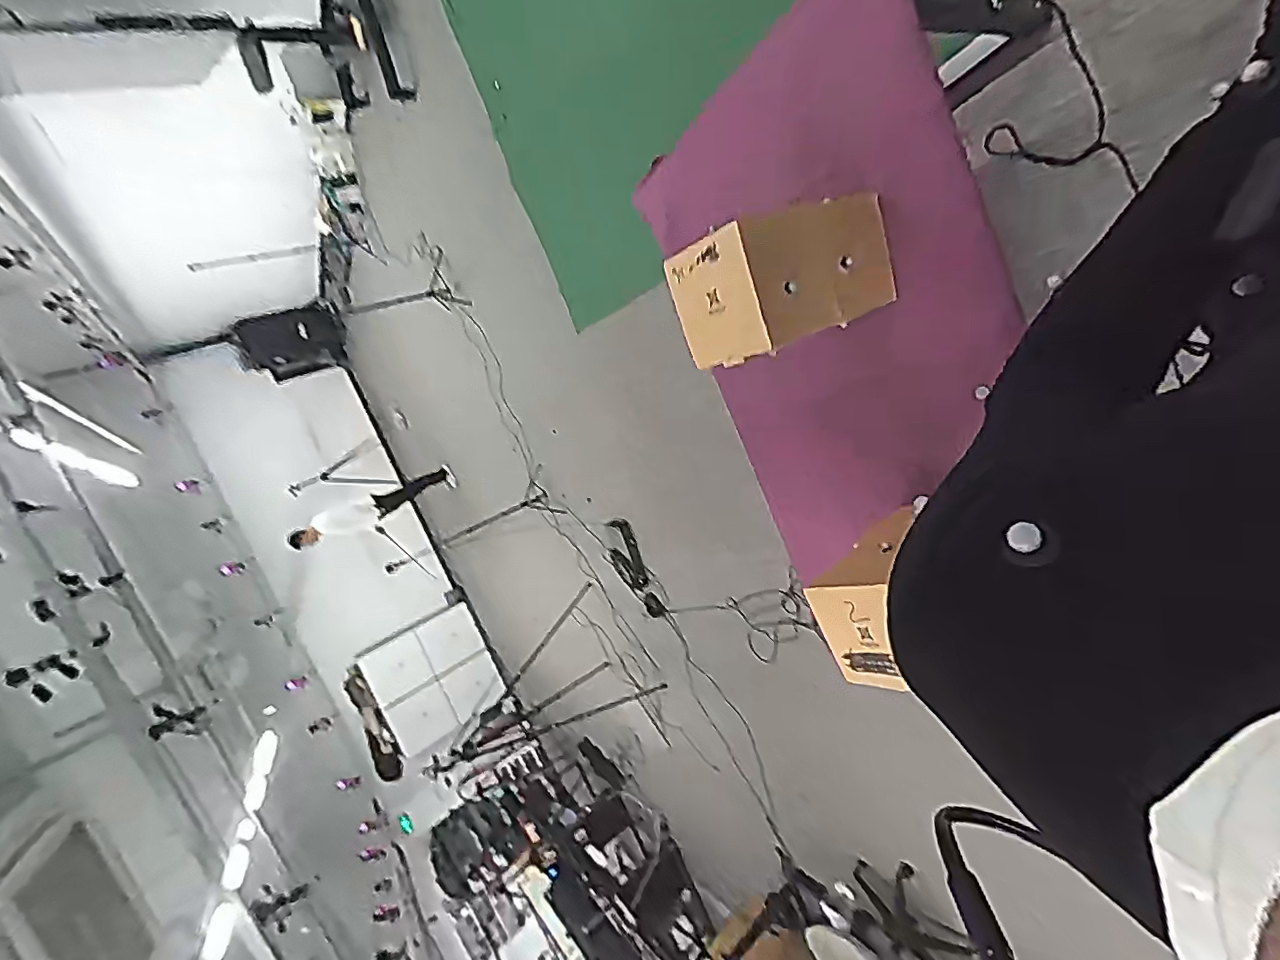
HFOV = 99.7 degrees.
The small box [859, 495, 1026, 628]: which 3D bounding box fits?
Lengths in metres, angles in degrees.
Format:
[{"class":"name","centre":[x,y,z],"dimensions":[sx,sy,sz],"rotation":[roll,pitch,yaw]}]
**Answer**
[{"class":"small box","centre":[0.531,0.138,0.950],"dimensions":[0.168,0.176,0.179],"rotation":[-23,94,60]}]

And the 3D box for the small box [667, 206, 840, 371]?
[{"class":"small box","centre":[0.176,-0.288,0.824],"dimensions":[0.168,0.176,0.179],"rotation":[-1,114,56]}]

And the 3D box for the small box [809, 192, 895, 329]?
[{"class":"small box","centre":[0.301,-0.354,0.906],"dimensions":[0.168,0.176,0.179],"rotation":[5,118,55]}]
